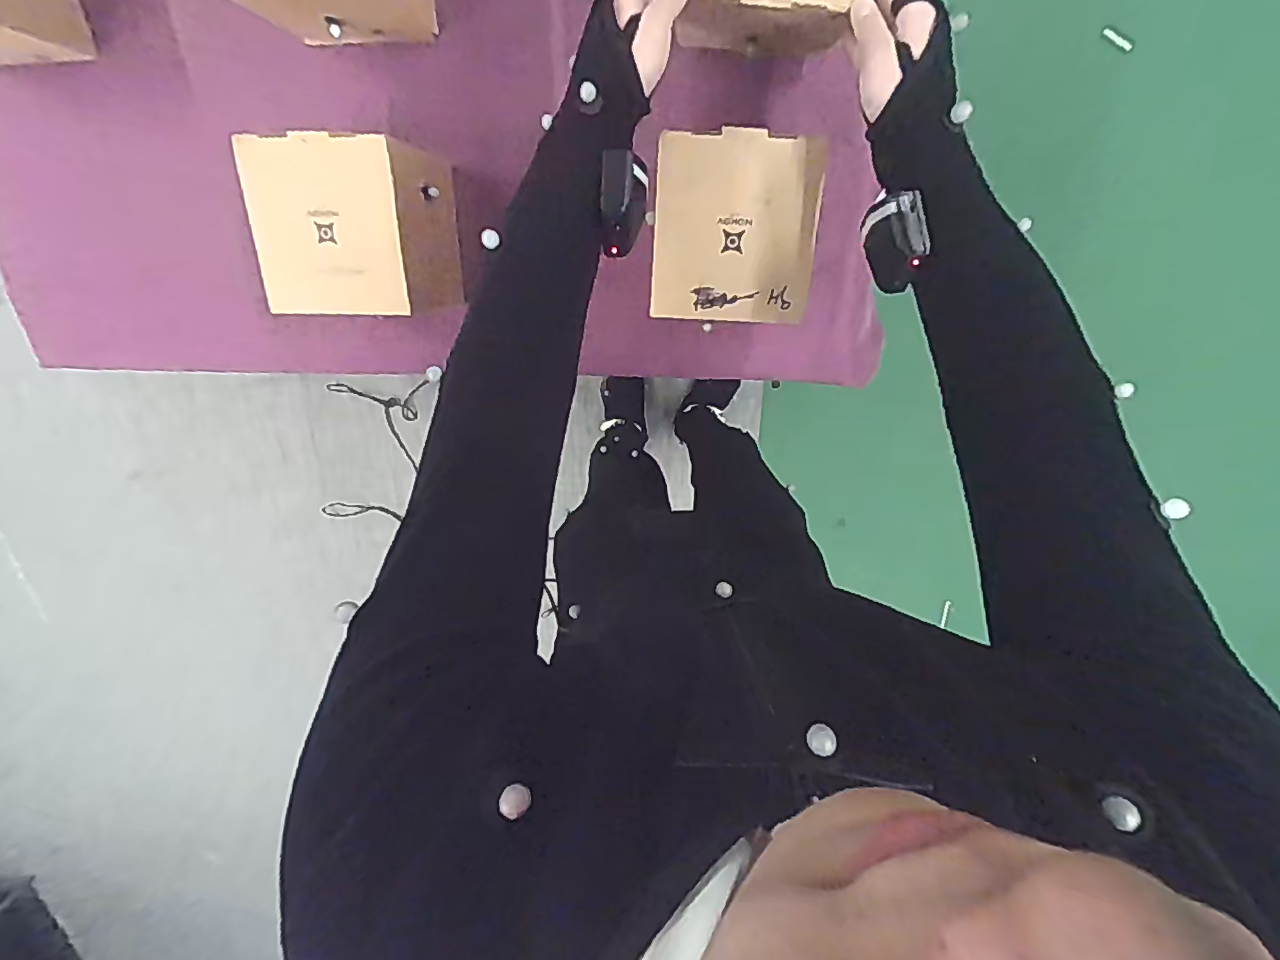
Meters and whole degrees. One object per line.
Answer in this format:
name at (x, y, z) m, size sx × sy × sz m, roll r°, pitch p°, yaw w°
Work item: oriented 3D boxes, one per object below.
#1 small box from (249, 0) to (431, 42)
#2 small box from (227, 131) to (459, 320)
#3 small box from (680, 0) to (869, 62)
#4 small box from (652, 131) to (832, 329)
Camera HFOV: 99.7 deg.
small box at (-0.323, -0.563, 0.525) m, size 0.168 × 0.176 × 0.179 m, roll 0°, pitch 113°, yaw 2°
small box at (-0.326, -0.288, 0.636) m, size 0.168 × 0.176 × 0.179 m, roll 3°, pitch 111°, yaw 3°
small box at (0.126, -0.512, 0.487) m, size 0.168 × 0.176 × 0.179 m, roll 9°, pitch 118°, yaw 3°
small box at (0.102, -0.272, 0.618) m, size 0.168 × 0.176 × 0.179 m, roll 4°, pitch 109°, yaw 3°
